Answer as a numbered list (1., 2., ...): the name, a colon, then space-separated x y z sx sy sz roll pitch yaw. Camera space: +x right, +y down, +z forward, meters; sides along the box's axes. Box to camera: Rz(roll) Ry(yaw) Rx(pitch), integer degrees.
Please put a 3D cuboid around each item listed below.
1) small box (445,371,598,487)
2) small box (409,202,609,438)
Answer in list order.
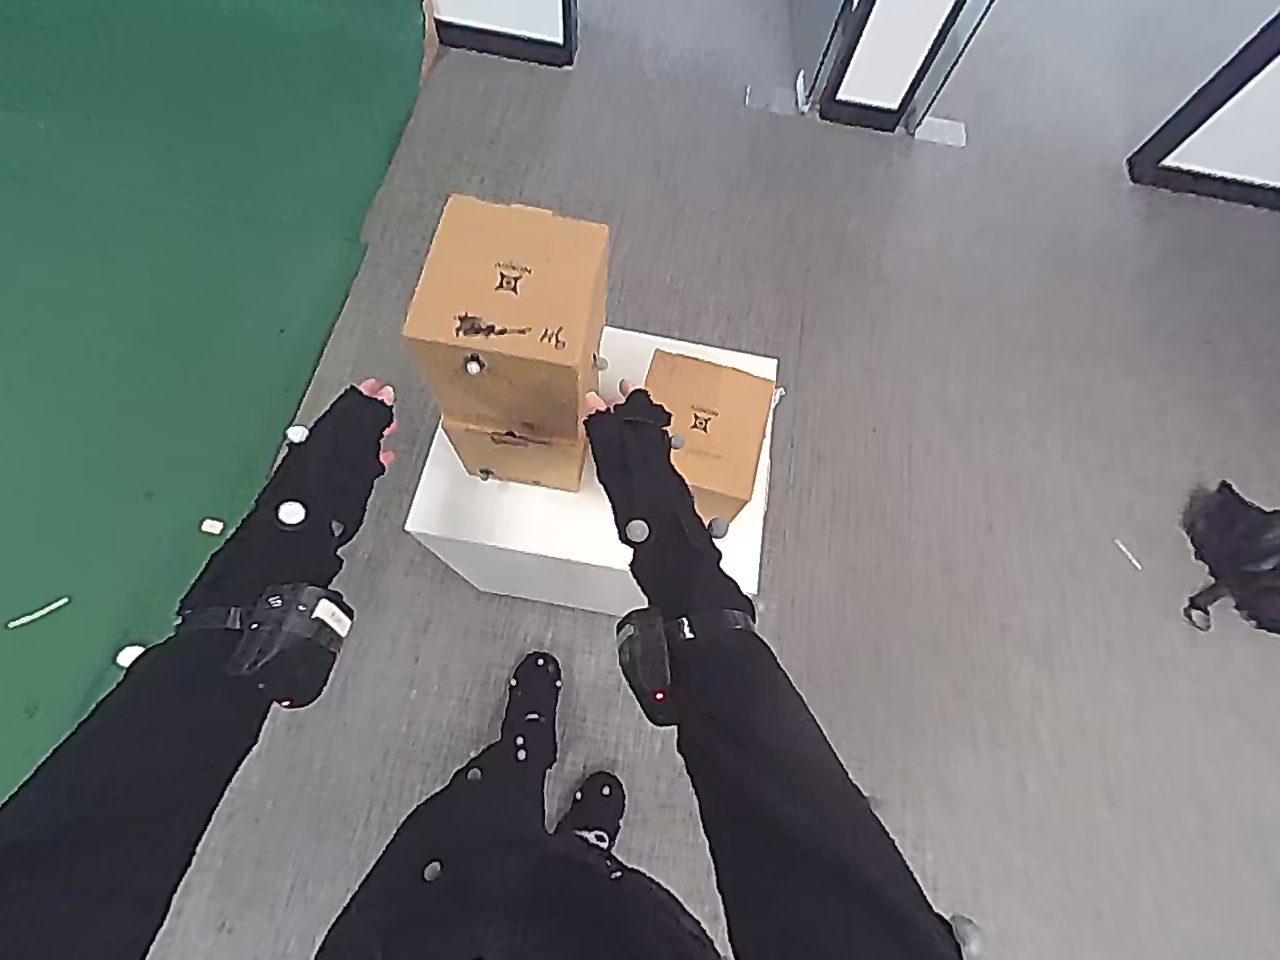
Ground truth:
1. small box: -0.152 -0.104 0.760 0.168 0.176 0.179 10 68 -2
2. small box: -0.133 -0.171 0.612 0.168 0.176 0.179 9 68 -2
